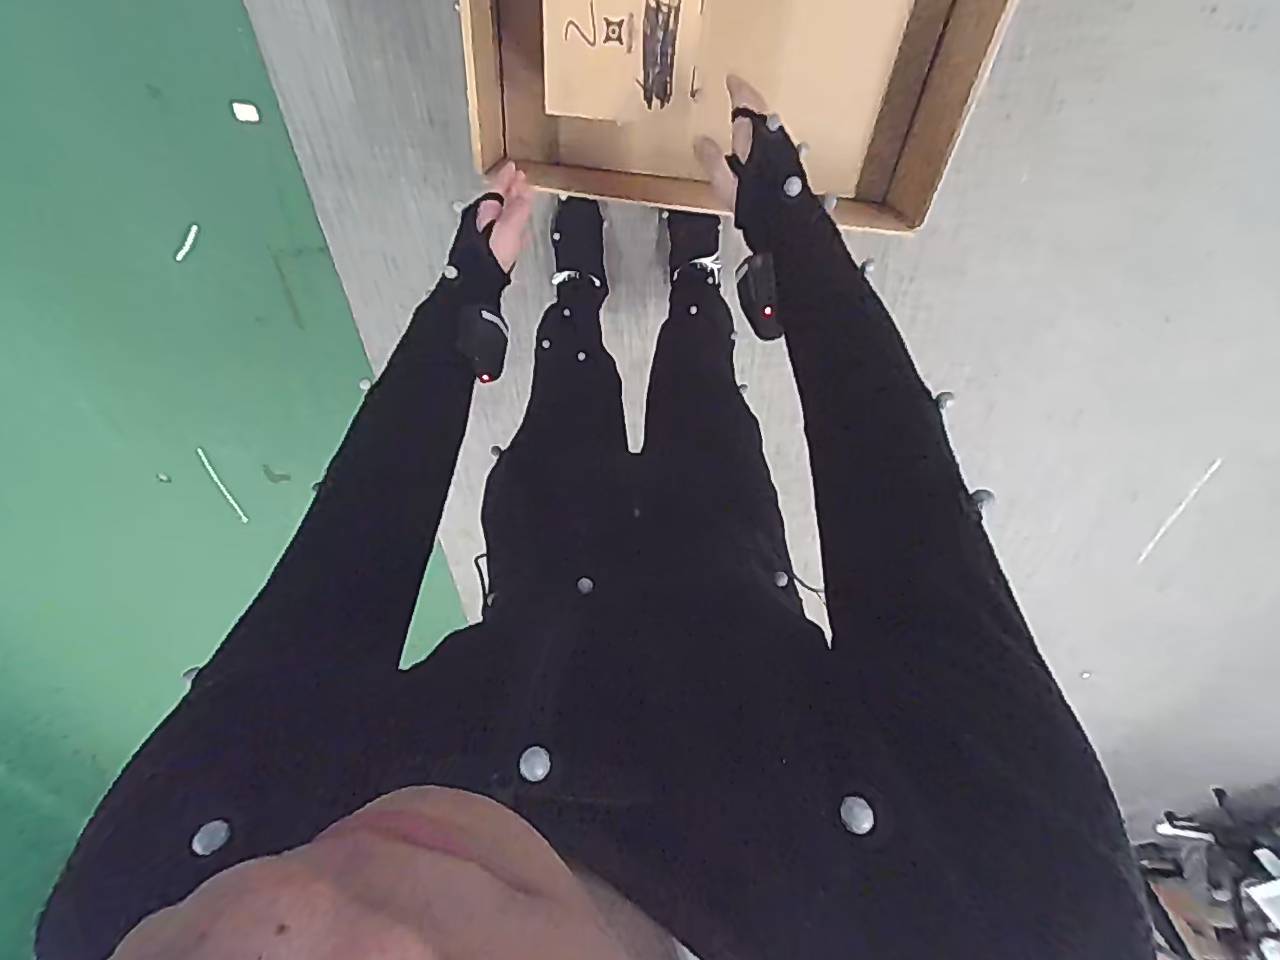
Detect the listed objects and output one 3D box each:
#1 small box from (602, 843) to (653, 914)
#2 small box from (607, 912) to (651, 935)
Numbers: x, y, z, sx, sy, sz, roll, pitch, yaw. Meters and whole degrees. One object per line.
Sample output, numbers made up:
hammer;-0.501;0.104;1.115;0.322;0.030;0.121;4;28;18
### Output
small box;-0.039;1.406;1.908;0.168;0.176;0.179;-1;131;3
small box;-0.038;1.655;2.120;0.168;0.176;0.179;1;128;3
